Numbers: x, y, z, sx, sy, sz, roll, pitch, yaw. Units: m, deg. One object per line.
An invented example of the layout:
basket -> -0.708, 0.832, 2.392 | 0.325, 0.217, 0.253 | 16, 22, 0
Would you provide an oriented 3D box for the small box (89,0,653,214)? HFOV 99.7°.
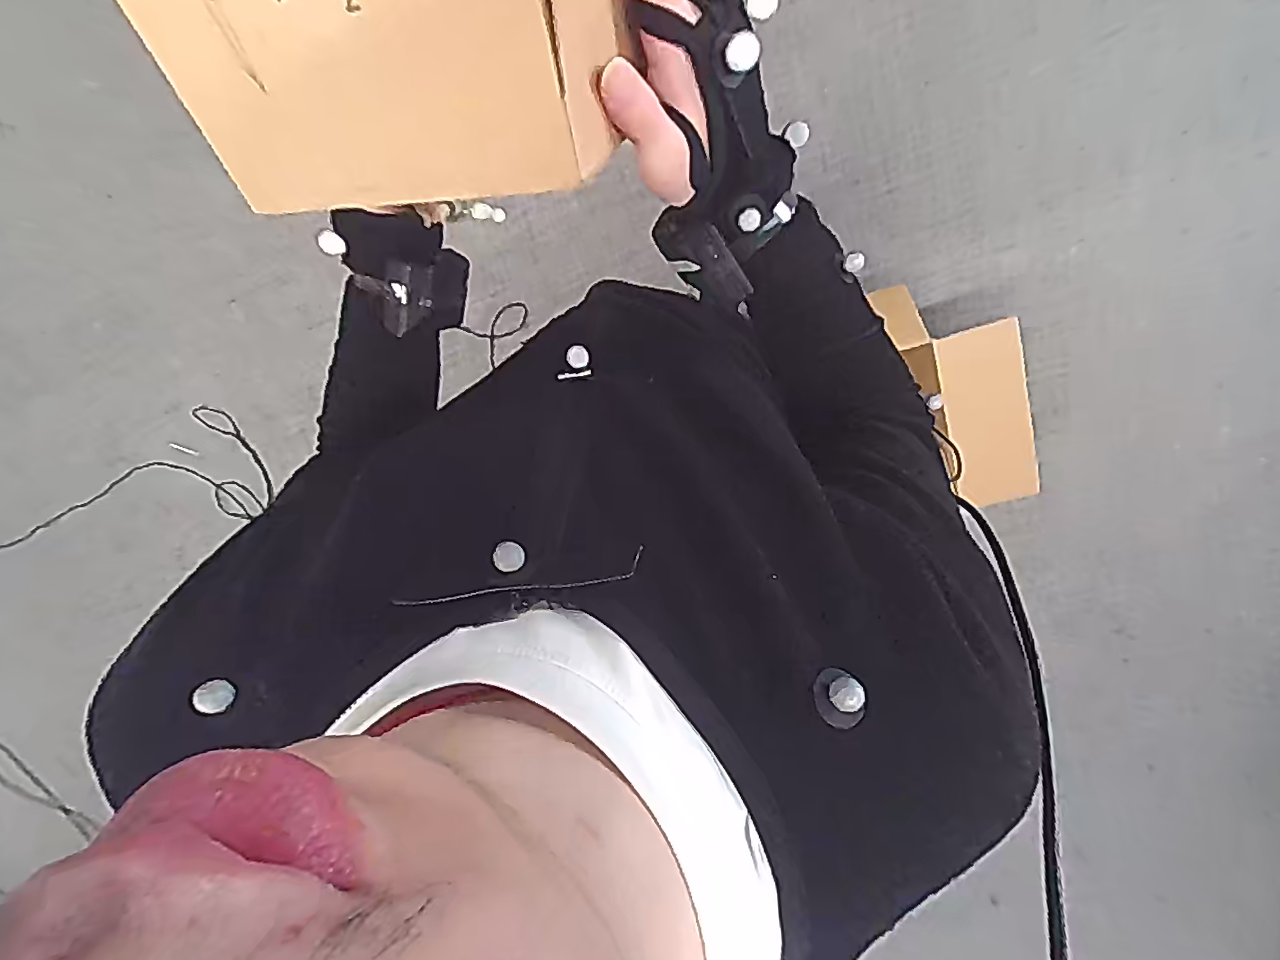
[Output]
small box -> -0.098, -0.230, 0.220 | 0.179, 0.176, 0.168 | 5, 138, 17
